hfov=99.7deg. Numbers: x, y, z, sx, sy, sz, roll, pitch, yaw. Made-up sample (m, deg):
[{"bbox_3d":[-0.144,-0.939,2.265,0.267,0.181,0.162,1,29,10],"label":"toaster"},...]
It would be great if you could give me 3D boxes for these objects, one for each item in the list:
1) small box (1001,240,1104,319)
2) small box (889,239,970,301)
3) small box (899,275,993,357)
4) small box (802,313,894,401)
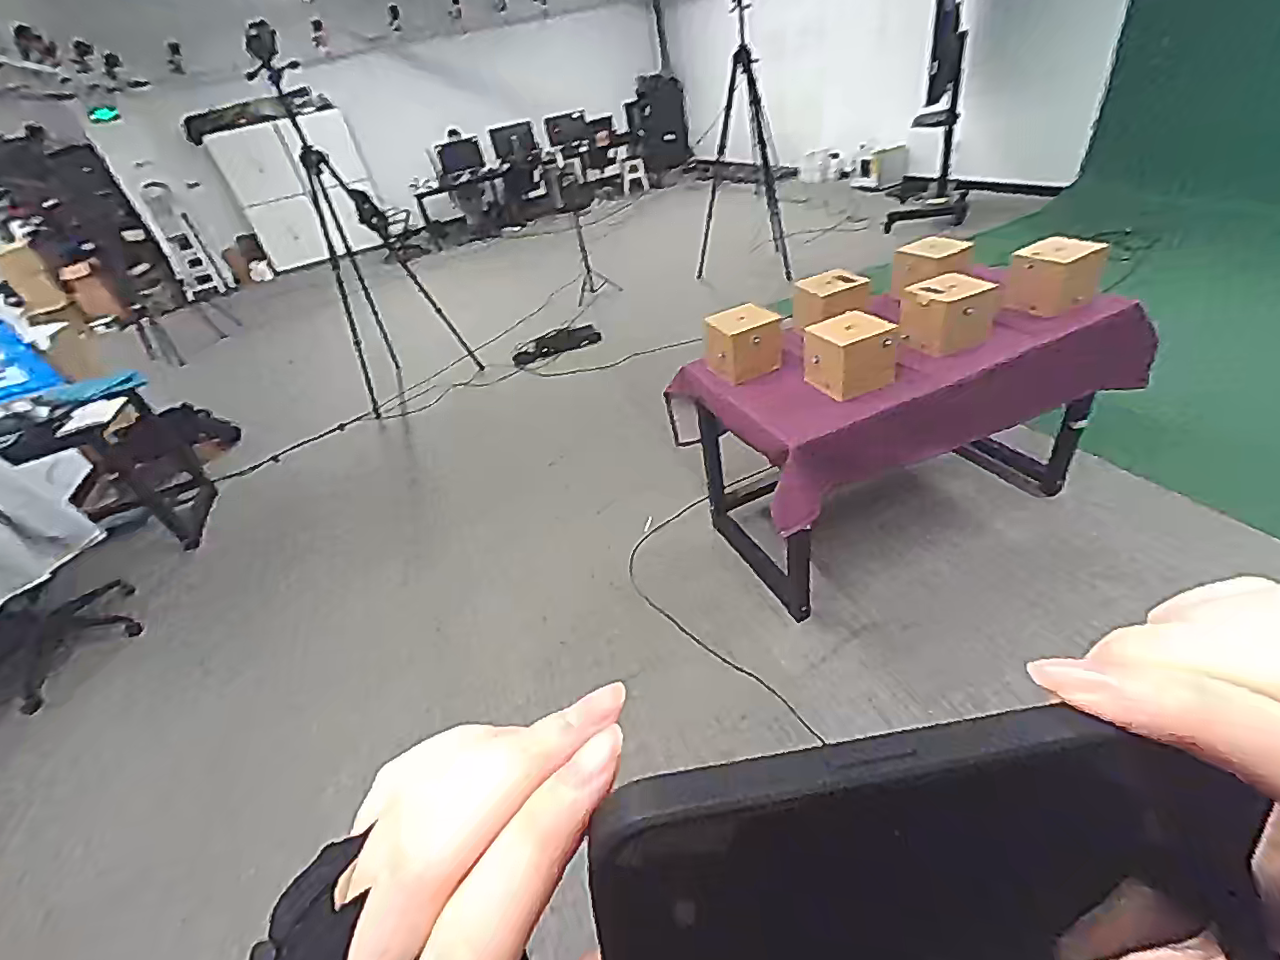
[{"bbox_3d":[1.244,-0.611,1.647,0.179,0.176,0.168,-23,37,-13],"label":"small box"},{"bbox_3d":[0.980,-0.705,1.850,0.168,0.176,0.179,-24,38,-14],"label":"small box"},{"bbox_3d":[0.883,-0.477,1.581,0.179,0.176,0.168,-20,37,-10],"label":"small box"},{"bbox_3d":[0.570,-0.338,1.495,0.179,0.176,0.168,-21,37,-12],"label":"small box"}]
